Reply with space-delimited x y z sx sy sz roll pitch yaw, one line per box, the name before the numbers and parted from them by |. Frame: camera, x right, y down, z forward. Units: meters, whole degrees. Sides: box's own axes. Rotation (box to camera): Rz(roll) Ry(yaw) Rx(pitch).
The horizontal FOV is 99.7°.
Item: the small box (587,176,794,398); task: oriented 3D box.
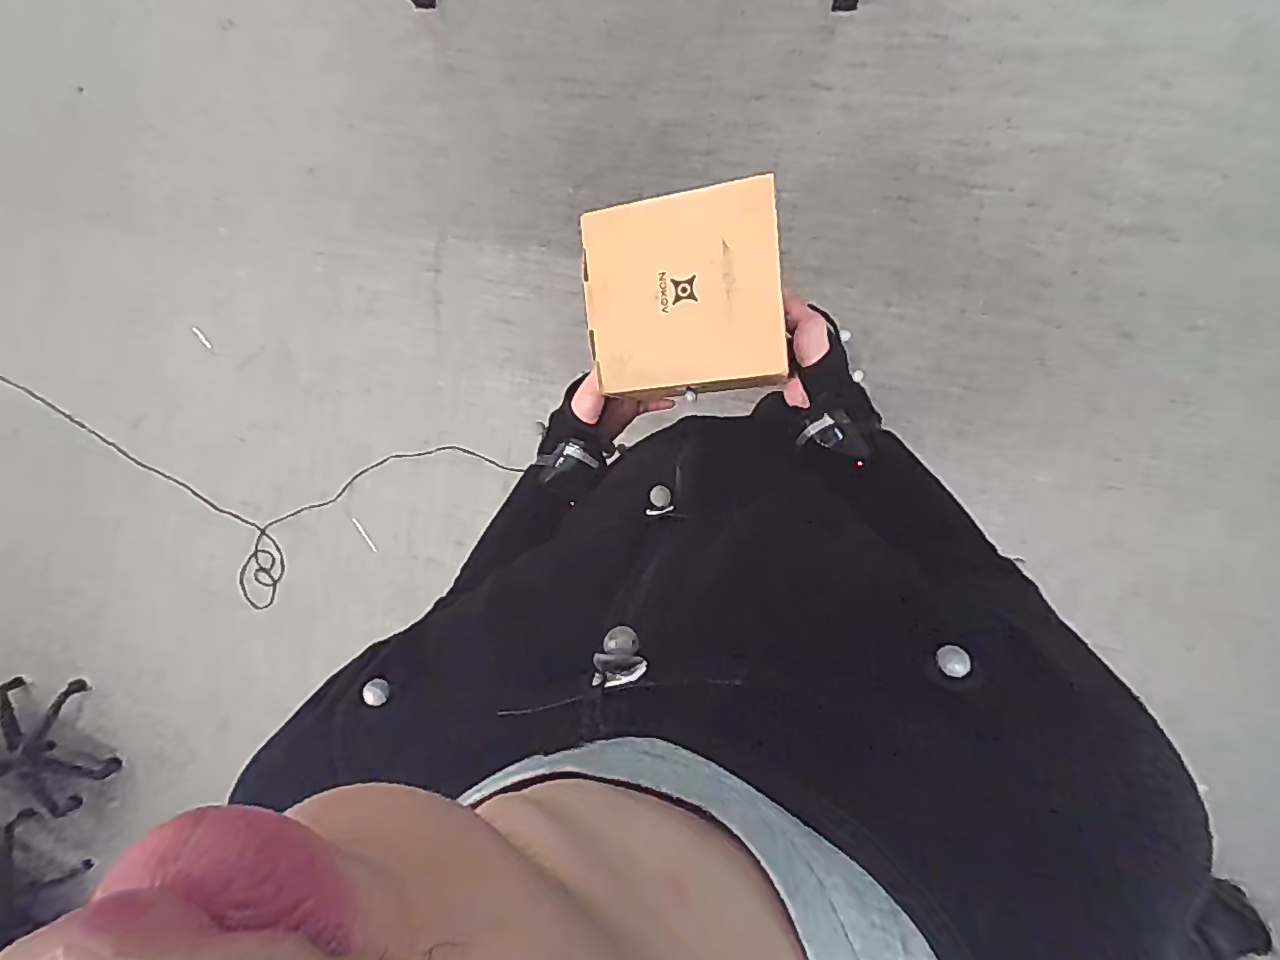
small box | 0.063 -0.175 0.553 0.179 0.176 0.168 -4 96 15
